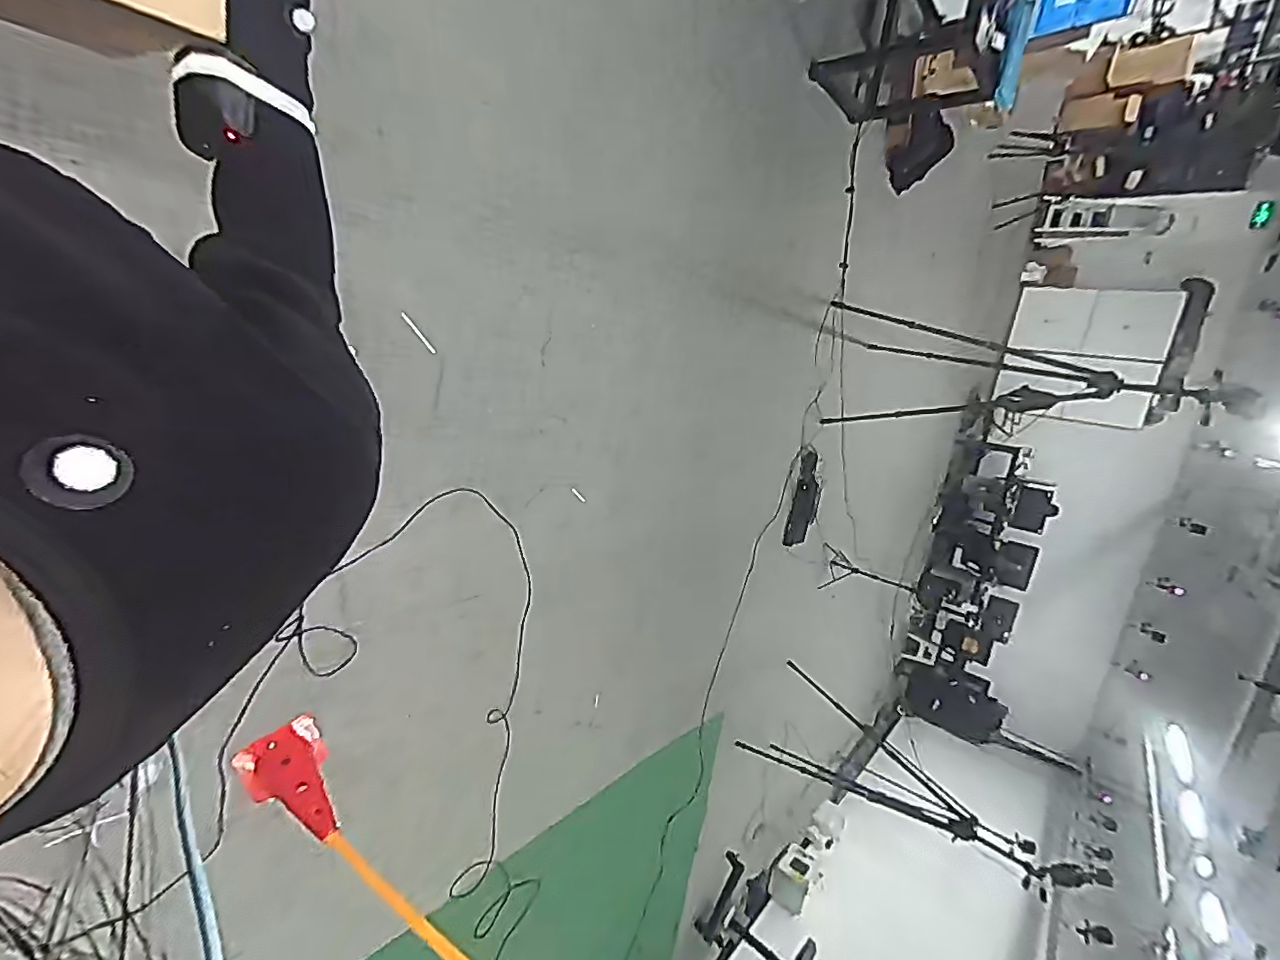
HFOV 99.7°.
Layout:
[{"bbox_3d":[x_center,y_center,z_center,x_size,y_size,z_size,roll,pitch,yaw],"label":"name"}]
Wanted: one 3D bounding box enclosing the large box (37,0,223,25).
[{"bbox_3d":[-0.521,-0.517,0.287,0.408,0.320,0.320,-14,123,-50],"label":"large box"}]
